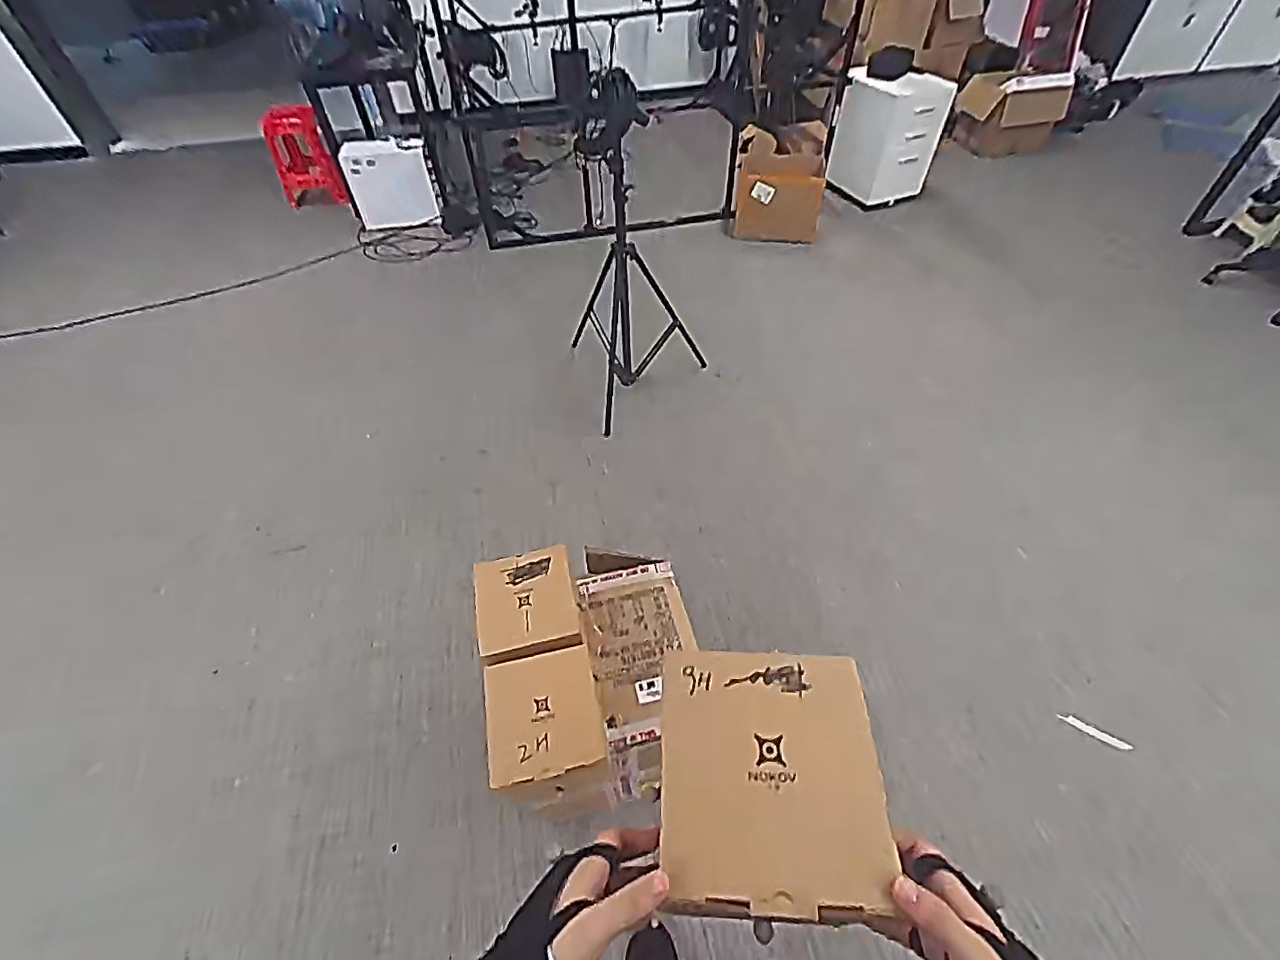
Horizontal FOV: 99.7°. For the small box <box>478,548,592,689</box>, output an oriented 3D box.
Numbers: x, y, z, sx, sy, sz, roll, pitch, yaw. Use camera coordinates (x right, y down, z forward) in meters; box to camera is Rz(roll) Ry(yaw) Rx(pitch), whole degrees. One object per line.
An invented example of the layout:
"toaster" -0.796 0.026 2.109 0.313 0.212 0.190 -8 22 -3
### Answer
"small box" -0.188 0.252 0.980 0.168 0.176 0.179 -13 53 -6
